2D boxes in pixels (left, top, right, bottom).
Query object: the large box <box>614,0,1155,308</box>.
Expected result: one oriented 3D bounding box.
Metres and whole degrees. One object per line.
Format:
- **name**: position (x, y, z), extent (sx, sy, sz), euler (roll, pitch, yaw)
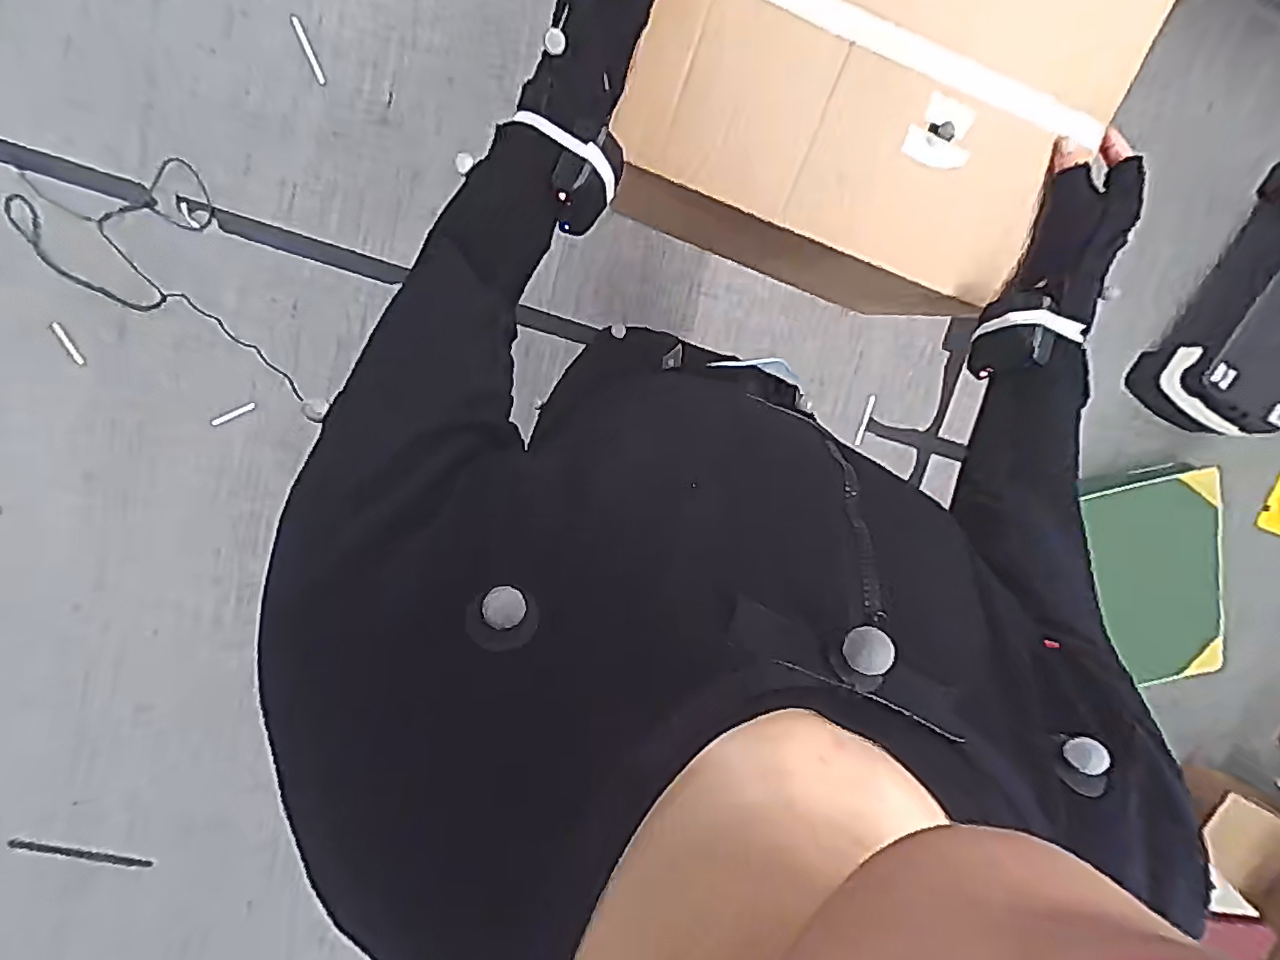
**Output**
- **large box**: position (0.203, -0.410, 0.602), extent (0.408, 0.320, 0.320), euler (19, 108, -9)
